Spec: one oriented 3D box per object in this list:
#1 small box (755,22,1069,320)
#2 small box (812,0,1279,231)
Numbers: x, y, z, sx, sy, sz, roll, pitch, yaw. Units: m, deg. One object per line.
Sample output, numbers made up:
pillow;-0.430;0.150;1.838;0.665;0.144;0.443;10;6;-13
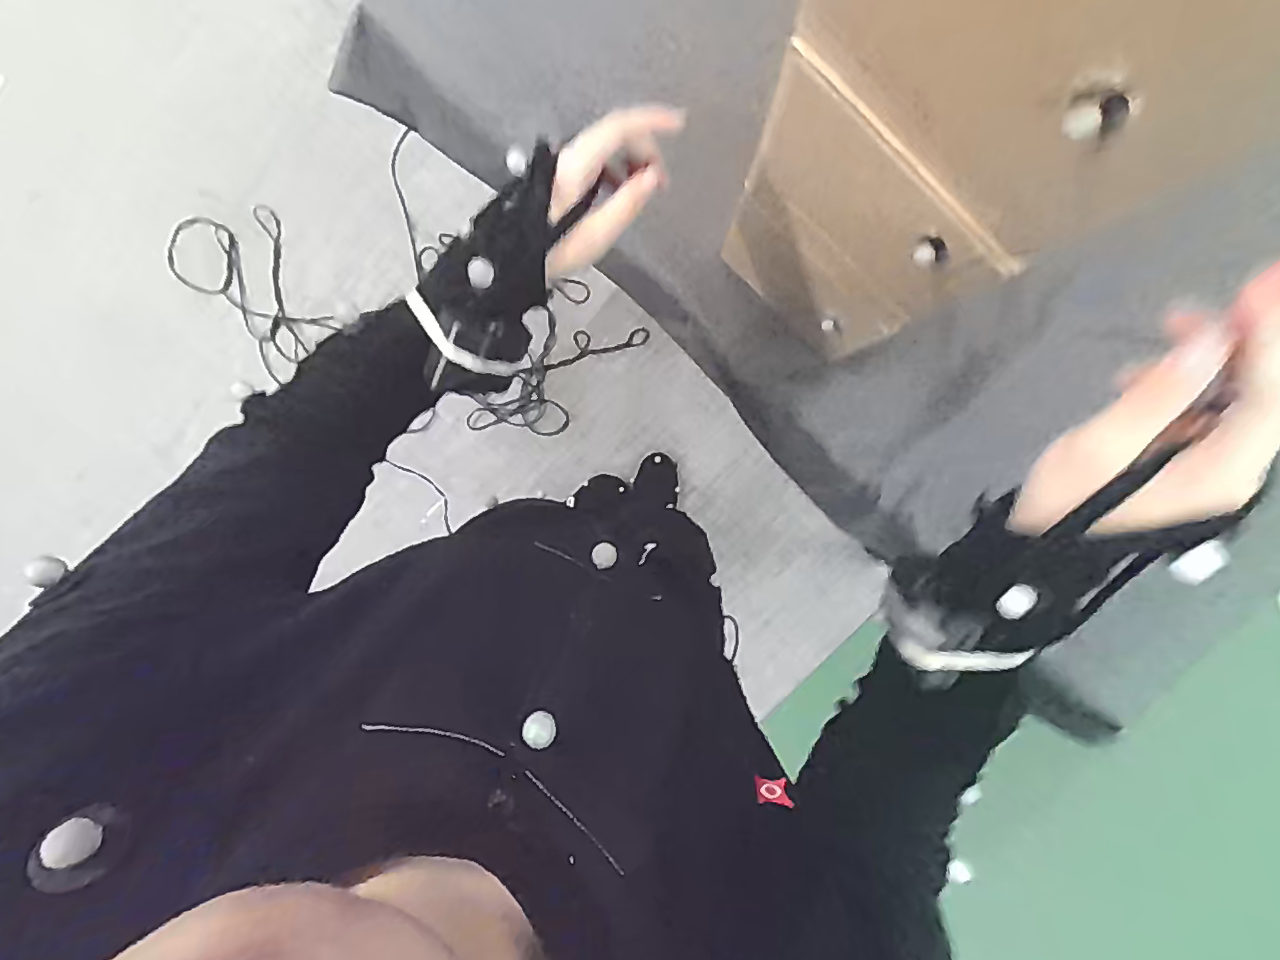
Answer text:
small box;0.202;-0.234;0.362;0.179;0.176;0.168;44;95;-3
small box;0.199;-0.225;0.200;0.179;0.176;0.168;44;93;-2
